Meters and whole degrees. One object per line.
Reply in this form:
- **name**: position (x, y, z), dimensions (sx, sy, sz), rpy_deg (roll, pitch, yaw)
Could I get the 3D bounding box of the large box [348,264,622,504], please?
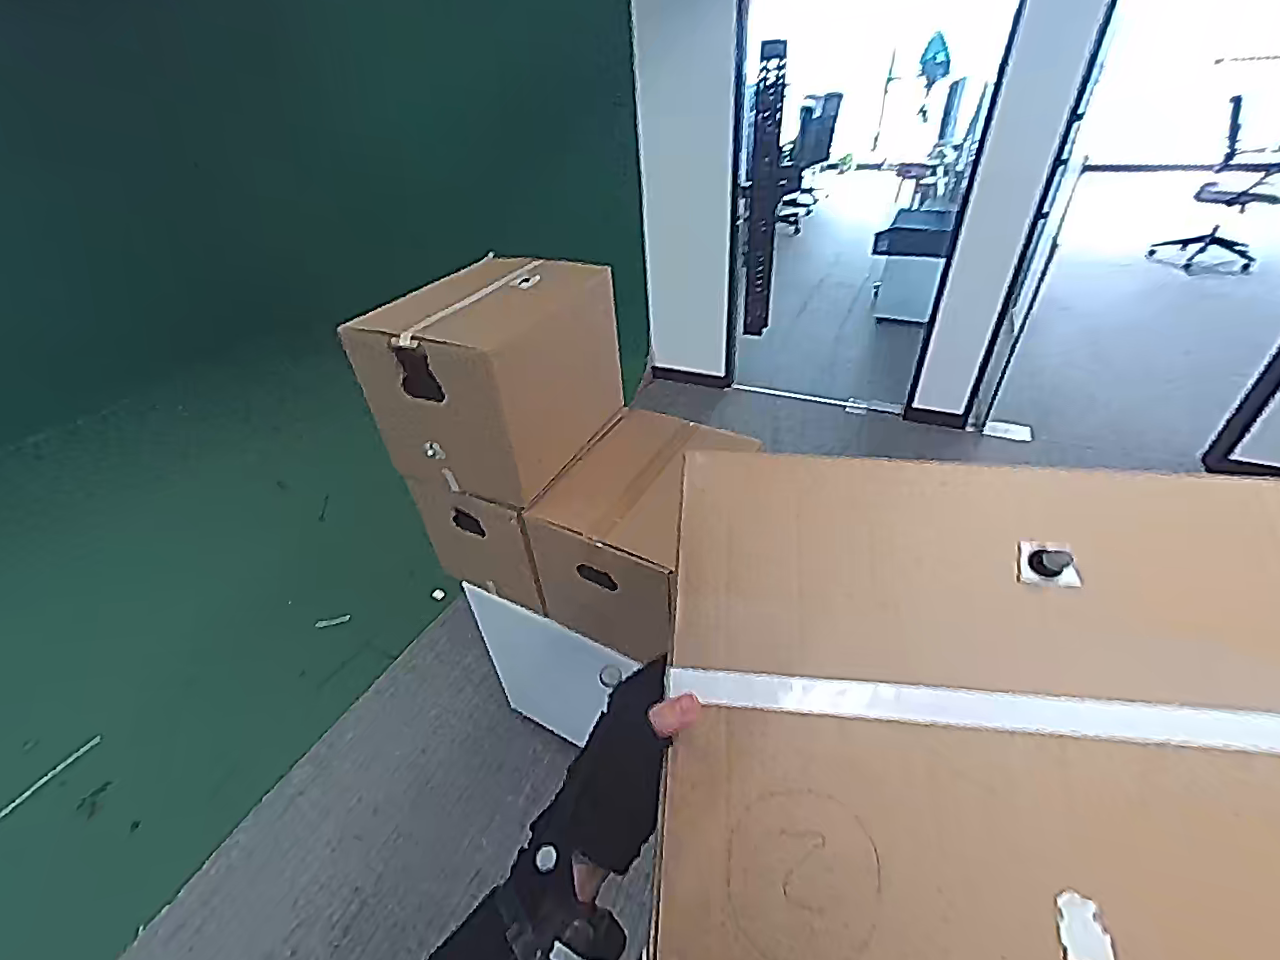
- **large box**: position (-0.267, -0.209, 1.077), dimensions (0.320, 0.320, 0.408), rpy_deg (14, 40, 22)
